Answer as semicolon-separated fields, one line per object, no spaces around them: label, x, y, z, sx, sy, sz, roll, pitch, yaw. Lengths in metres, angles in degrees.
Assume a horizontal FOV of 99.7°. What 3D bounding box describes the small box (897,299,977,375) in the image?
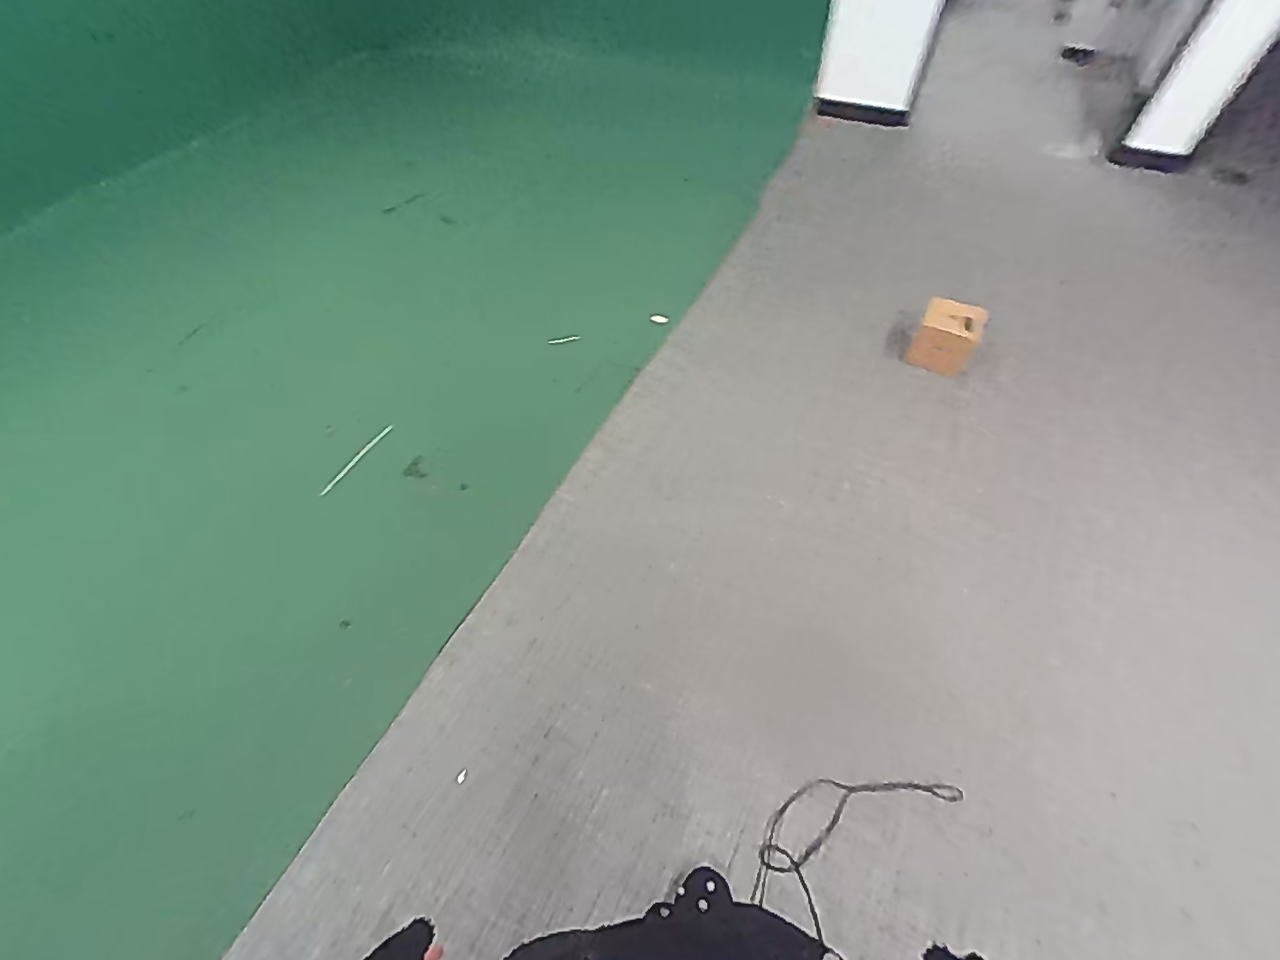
small box;1.016;-0.485;1.854;0.179;0.176;0.168;22;60;16
